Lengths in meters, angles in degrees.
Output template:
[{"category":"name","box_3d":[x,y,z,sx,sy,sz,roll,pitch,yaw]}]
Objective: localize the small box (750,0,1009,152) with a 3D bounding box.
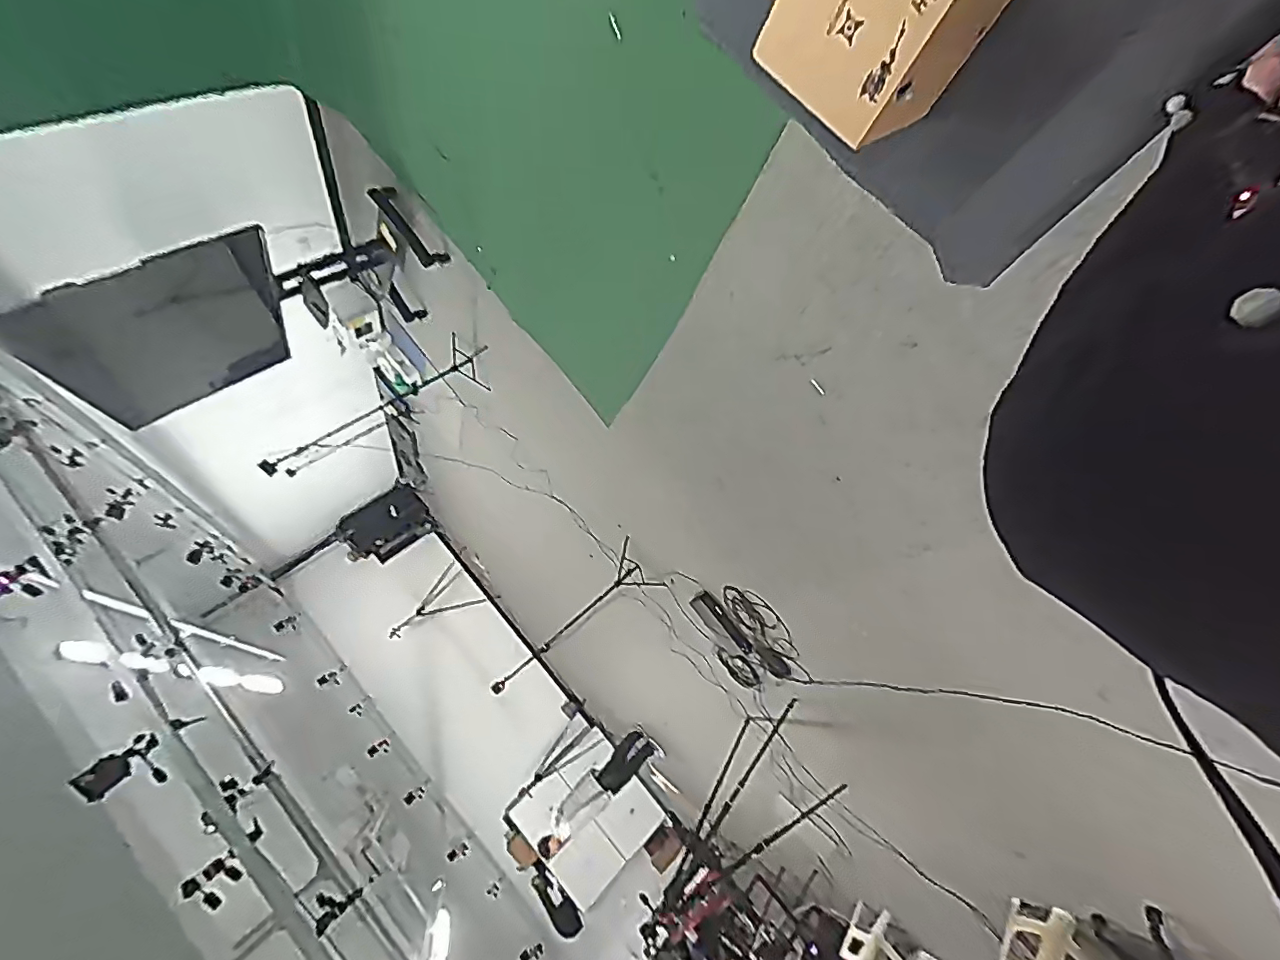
[{"category":"small box","box_3d":[0.264,-0.511,0.599,0.179,0.176,0.168,48,152,8]}]
